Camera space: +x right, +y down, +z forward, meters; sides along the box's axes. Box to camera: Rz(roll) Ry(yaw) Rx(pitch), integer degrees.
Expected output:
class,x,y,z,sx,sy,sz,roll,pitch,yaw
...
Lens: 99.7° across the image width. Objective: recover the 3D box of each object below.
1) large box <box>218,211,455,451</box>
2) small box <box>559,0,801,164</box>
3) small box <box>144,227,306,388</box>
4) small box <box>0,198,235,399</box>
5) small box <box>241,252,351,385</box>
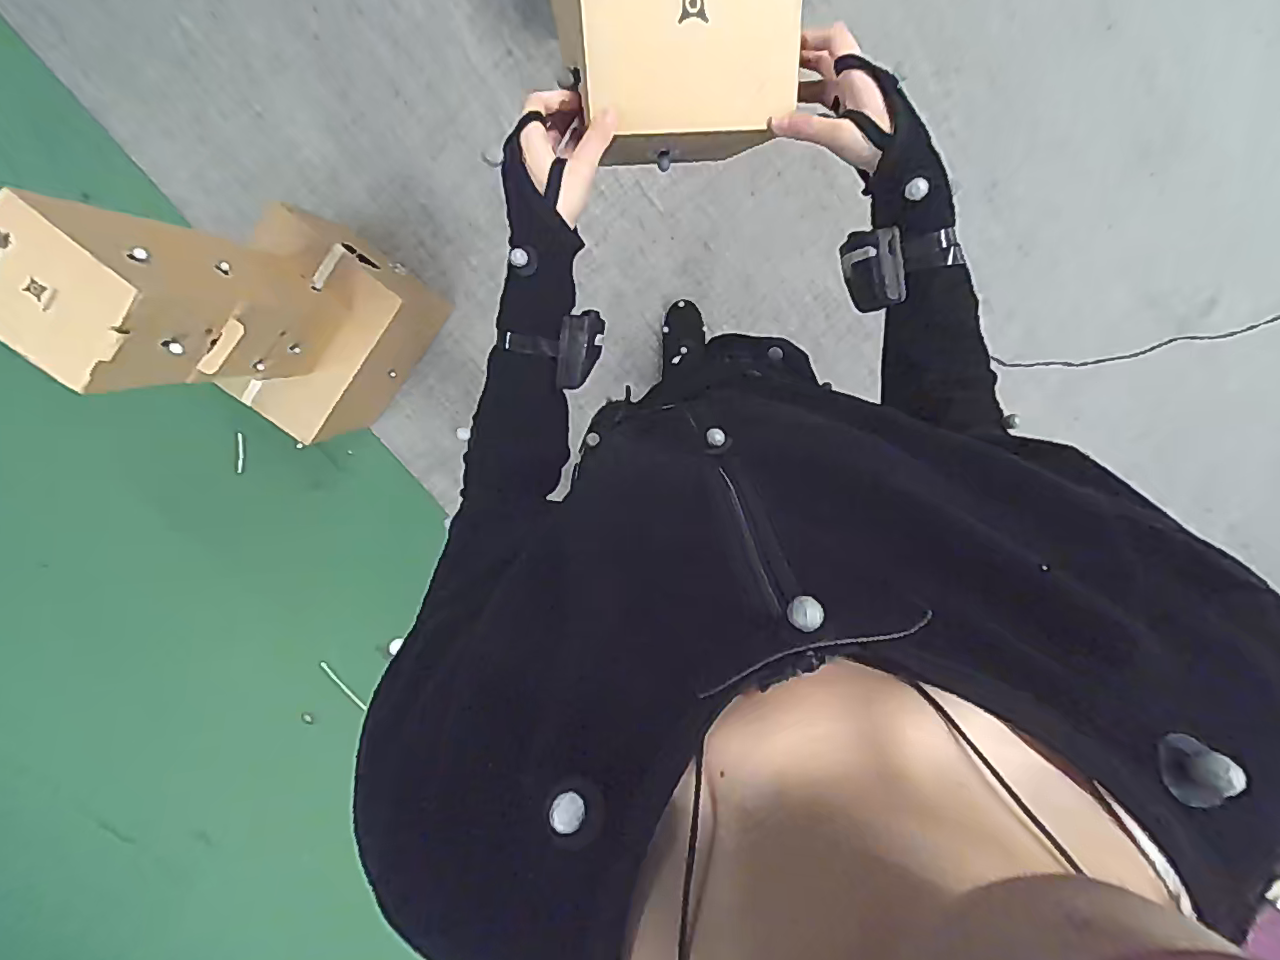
class,x,y,z,sx,sy,sz,roll,pitch,yaw
large box,-0.718,-0.343,1.291,0.320,0.320,0.408,38,103,-7
small box,0.023,-0.375,0.455,0.168,0.176,0.179,-7,113,-9
small box,-0.702,-0.277,0.886,0.179,0.176,0.168,43,100,-10
small box,-0.708,-0.236,0.727,0.179,0.176,0.168,41,100,-11
small box,-0.704,-0.306,1.048,0.168,0.176,0.179,41,100,-10
